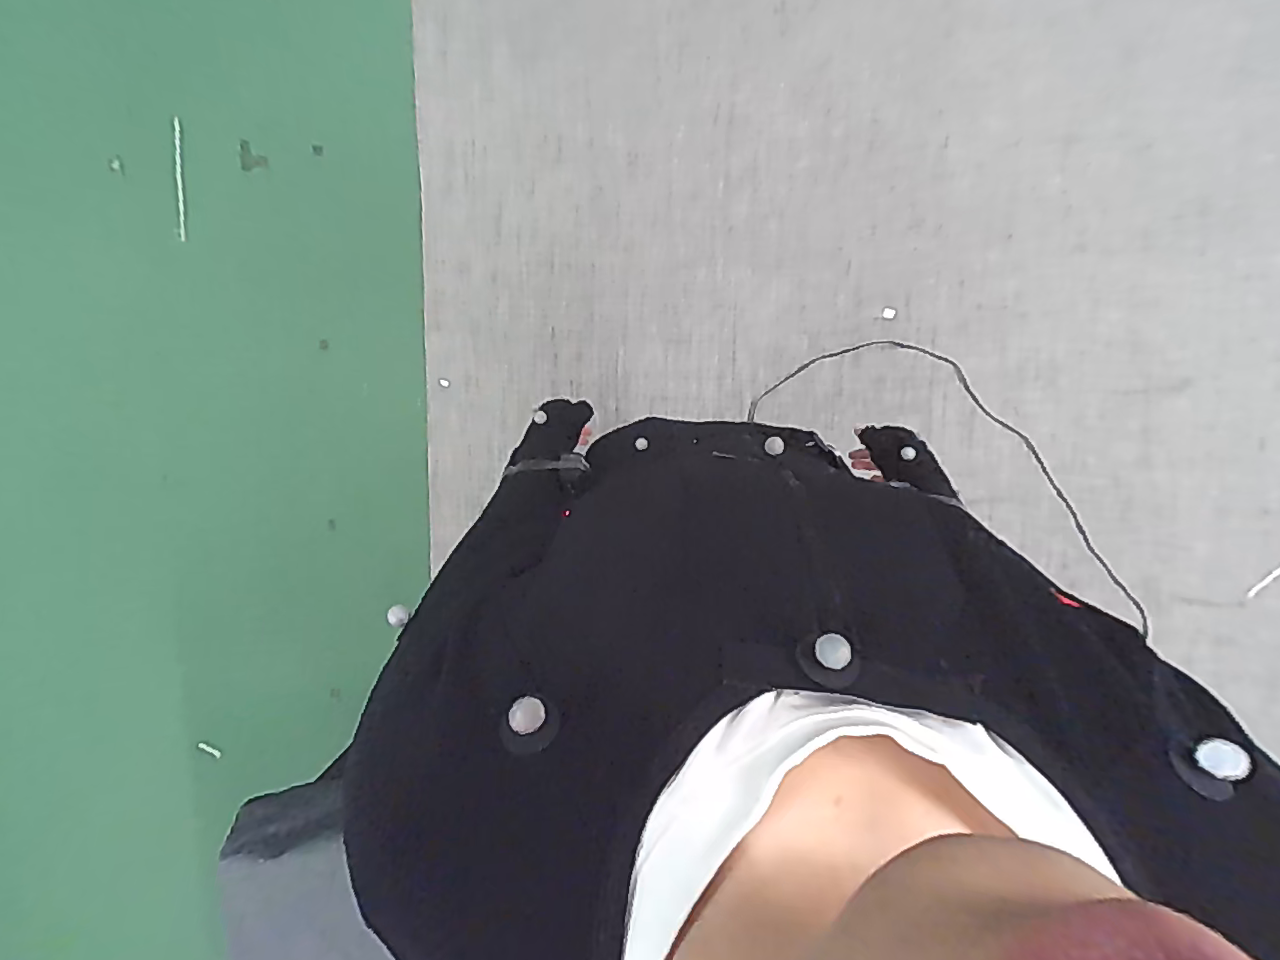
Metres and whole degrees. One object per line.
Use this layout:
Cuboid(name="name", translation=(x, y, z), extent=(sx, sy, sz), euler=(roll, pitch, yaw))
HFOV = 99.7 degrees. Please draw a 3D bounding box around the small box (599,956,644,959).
Cuboid(name="small box", translation=(0.009, 0.816, 0.752), extent=(0.168, 0.176, 0.179), euler=(0, 96, 3))
